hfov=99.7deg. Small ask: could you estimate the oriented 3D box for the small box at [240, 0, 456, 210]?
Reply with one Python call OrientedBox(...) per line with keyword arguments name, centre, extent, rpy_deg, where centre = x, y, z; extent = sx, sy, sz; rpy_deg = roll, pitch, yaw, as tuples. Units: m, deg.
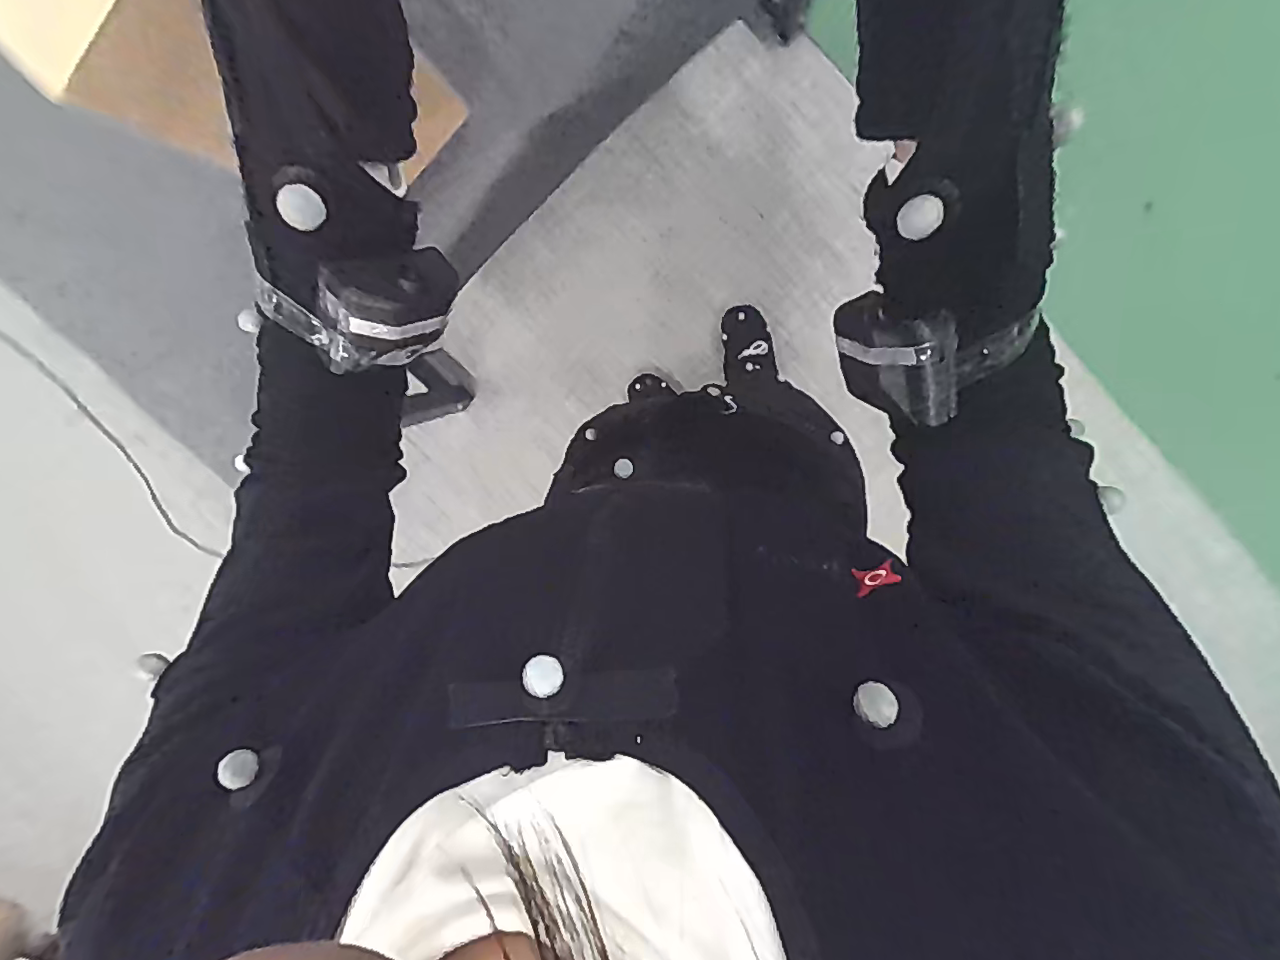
OrientedBox(name="small box", centre=(-0.319, -0.403, 0.532), extent=(0.179, 0.176, 0.168), rpy_deg=(-40, 96, 14))
